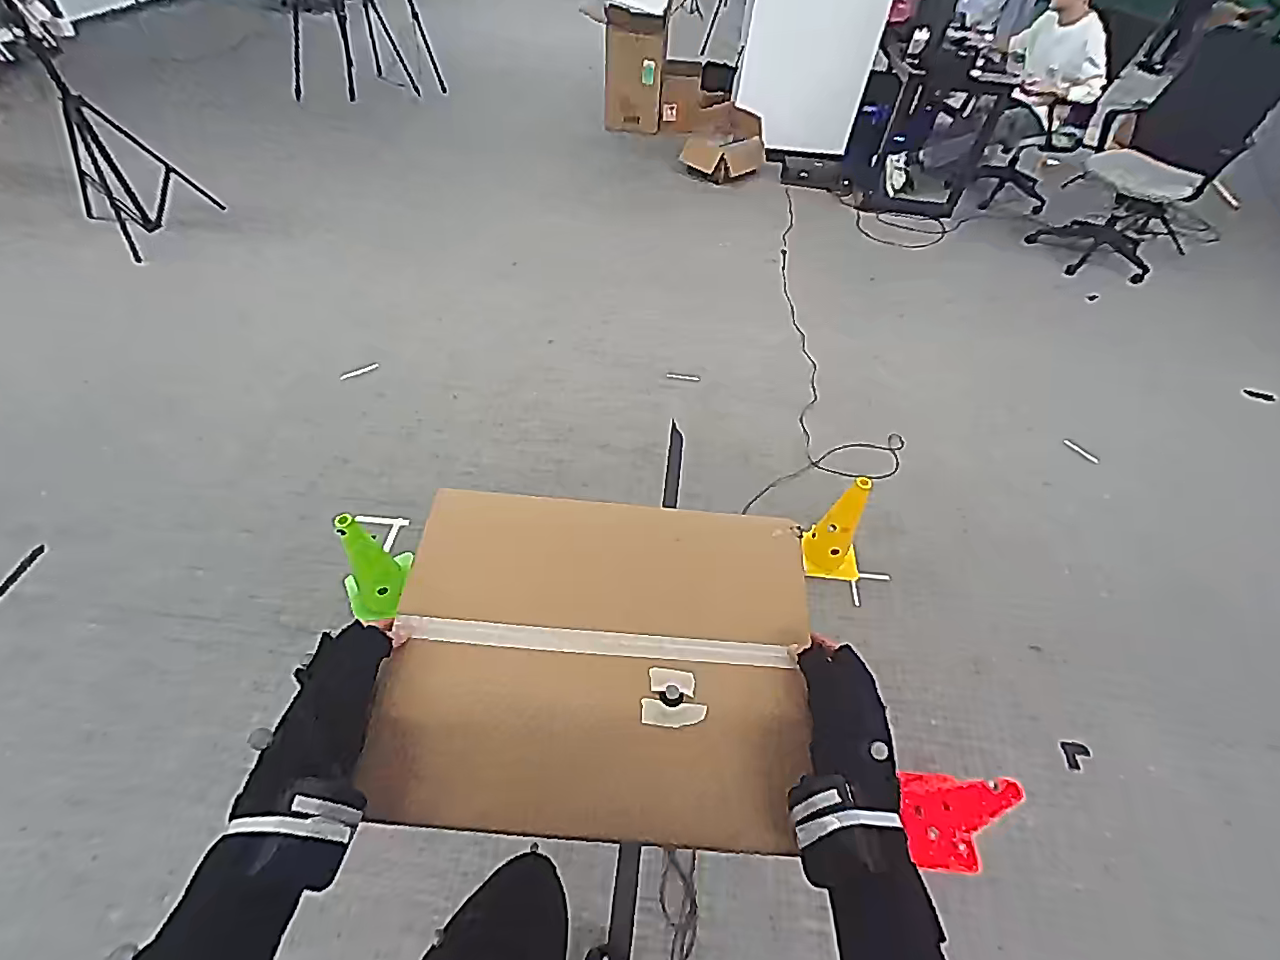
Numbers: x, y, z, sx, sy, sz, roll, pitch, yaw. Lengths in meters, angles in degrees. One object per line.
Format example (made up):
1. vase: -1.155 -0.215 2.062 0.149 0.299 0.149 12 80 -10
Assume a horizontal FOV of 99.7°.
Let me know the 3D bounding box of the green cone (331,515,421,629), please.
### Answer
1. green cone: -0.734 0.209 1.454 0.202 0.368 0.200 -24 55 -20

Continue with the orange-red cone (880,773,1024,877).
1. orange-red cone: 0.691 0.698 1.149 0.198 0.360 0.199 6 48 0

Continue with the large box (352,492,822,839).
1. large box: -0.046 0.238 0.655 0.408 0.320 0.320 6 57 -1
